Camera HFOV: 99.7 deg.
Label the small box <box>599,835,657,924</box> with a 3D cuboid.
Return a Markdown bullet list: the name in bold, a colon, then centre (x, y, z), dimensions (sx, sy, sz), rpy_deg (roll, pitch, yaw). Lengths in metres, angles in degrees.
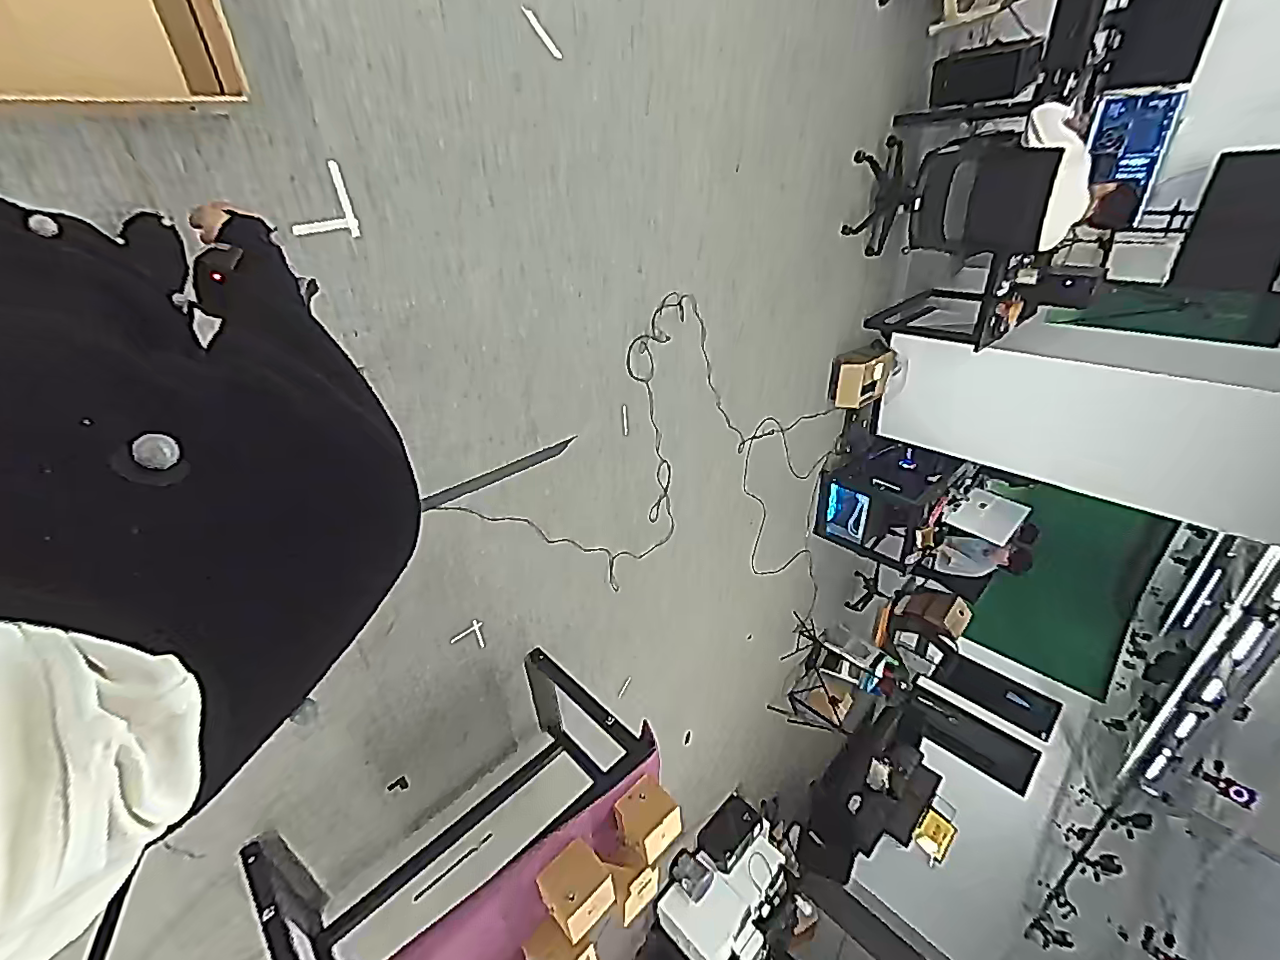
- **small box**: centre (-0.054, 1.450, 1.980), dimensions (0.168, 0.176, 0.179), rpy_deg (-22, 124, -39)

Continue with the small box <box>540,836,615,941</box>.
- **small box**: centre (-0.206, 1.307, 1.740), dimensions (0.179, 0.176, 0.168), rpy_deg (-28, 128, -36)

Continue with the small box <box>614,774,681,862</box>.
- **small box**: centre (0.026, 1.204, 1.939), dimensions (0.168, 0.176, 0.179), rpy_deg (-30, 129, -32)
